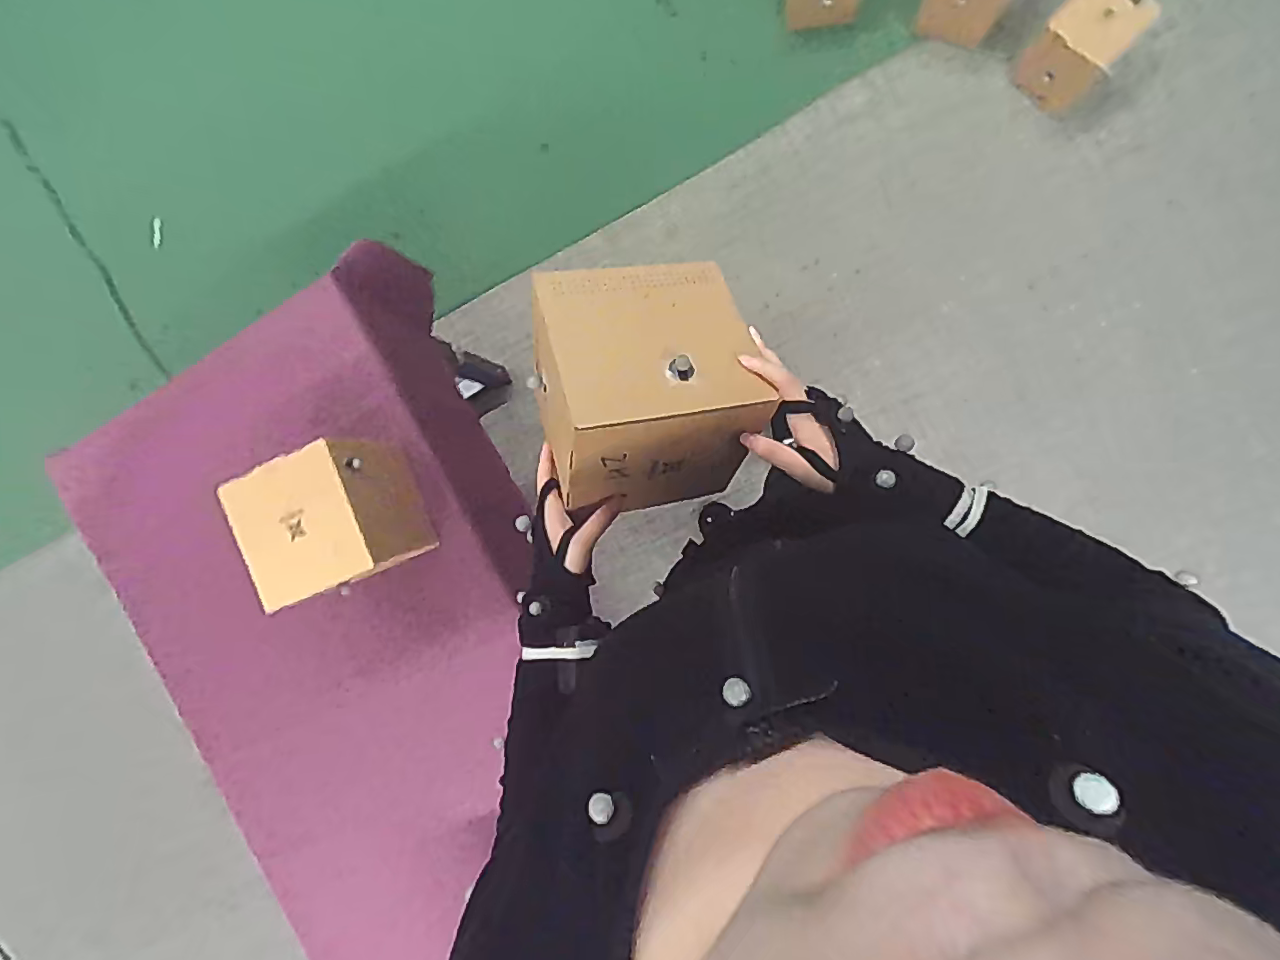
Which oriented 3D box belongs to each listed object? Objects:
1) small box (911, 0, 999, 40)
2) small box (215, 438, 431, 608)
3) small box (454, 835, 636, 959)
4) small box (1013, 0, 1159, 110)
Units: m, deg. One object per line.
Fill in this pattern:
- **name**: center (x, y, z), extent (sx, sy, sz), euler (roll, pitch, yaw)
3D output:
- **small box**: center (0.779, -1.203, 1.286), extent (0.179, 0.176, 0.168), euler (19, 94, 5)
- **small box**: center (-0.427, 0.051, 0.757), extent (0.168, 0.176, 0.179), euler (-23, 89, 8)
- **small box**: center (-0.116, 0.639, 0.740), extent (0.168, 0.176, 0.179), euler (-22, 89, 7)
- **small box**: center (1.019, -1.025, 1.263), extent (0.179, 0.176, 0.168), euler (-45, 86, 7)
